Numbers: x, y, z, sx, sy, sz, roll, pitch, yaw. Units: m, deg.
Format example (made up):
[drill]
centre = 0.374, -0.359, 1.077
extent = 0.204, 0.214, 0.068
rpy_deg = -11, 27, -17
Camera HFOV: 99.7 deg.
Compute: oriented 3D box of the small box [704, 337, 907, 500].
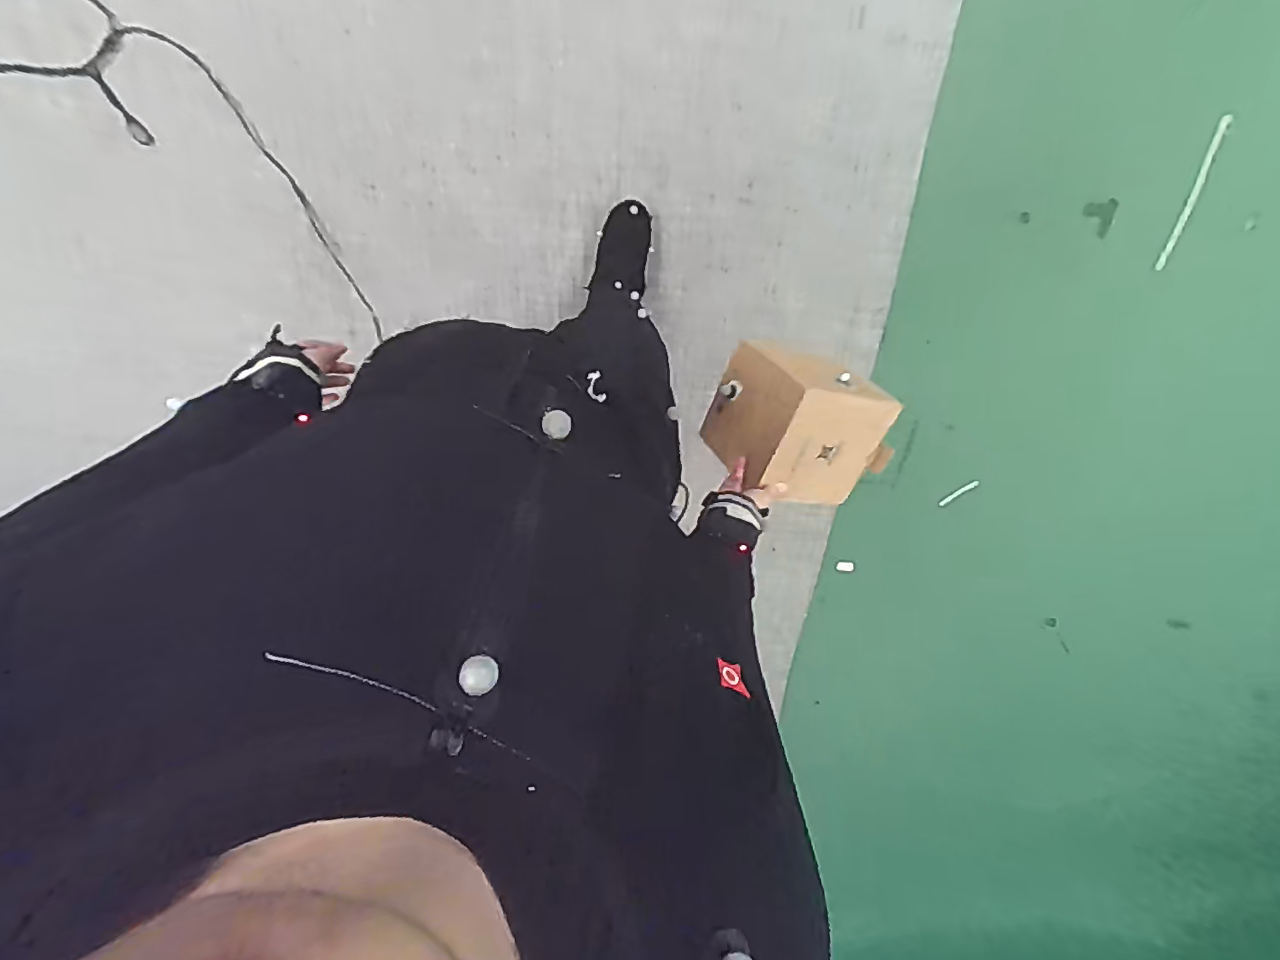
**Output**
[small box]
centre = 0.222, -0.087, 0.764
extent = 0.179, 0.176, 0.168
rpy_deg = 3, 123, -28
